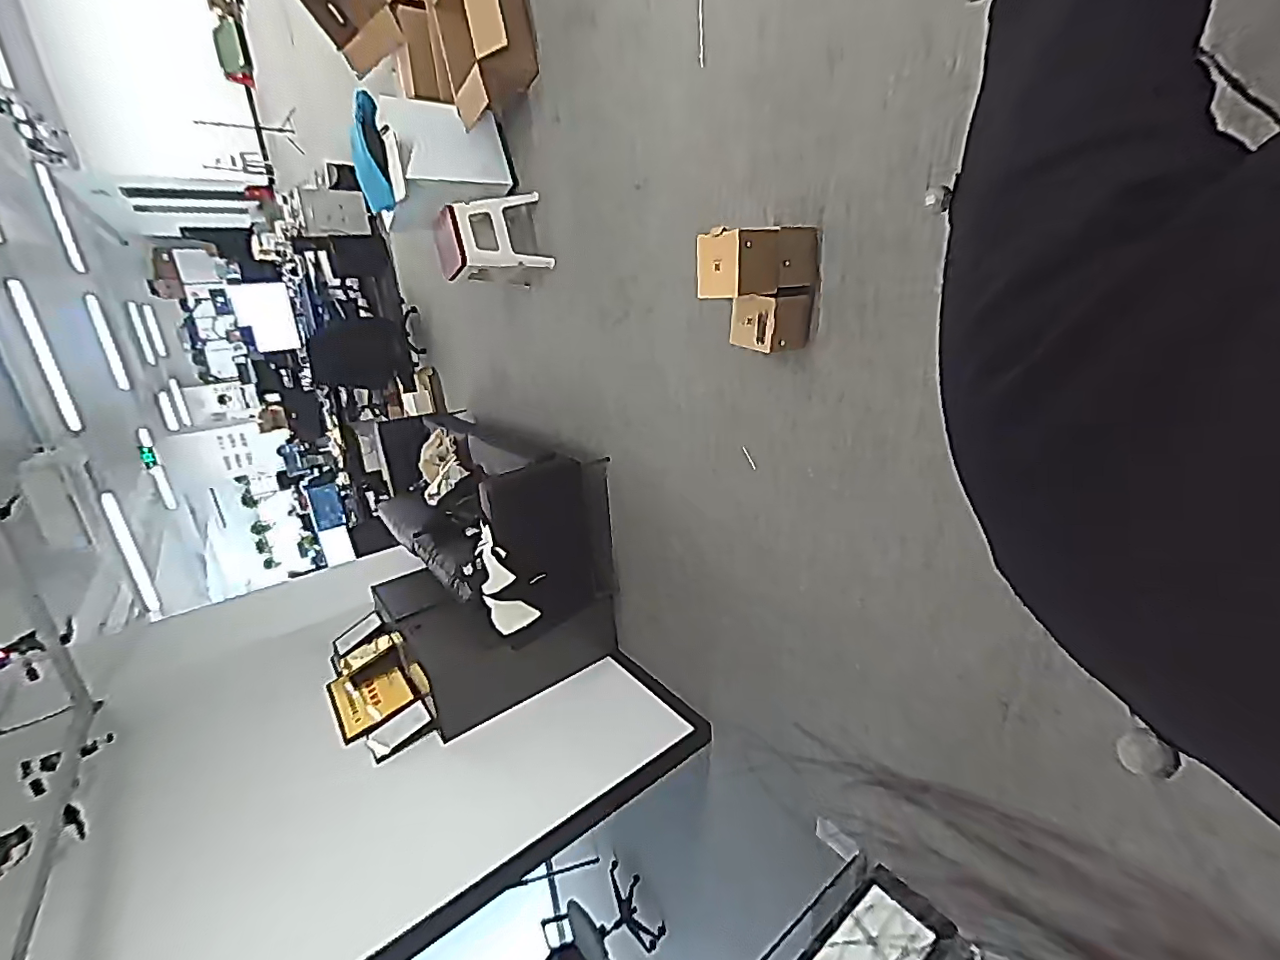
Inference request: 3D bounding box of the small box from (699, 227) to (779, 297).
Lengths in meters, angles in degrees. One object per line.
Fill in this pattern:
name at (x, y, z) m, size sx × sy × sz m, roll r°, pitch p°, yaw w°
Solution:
small box at (0.288, -0.632, 1.571) m, size 0.168 × 0.176 × 0.179 m, roll 21°, pitch 121°, yaw 49°
